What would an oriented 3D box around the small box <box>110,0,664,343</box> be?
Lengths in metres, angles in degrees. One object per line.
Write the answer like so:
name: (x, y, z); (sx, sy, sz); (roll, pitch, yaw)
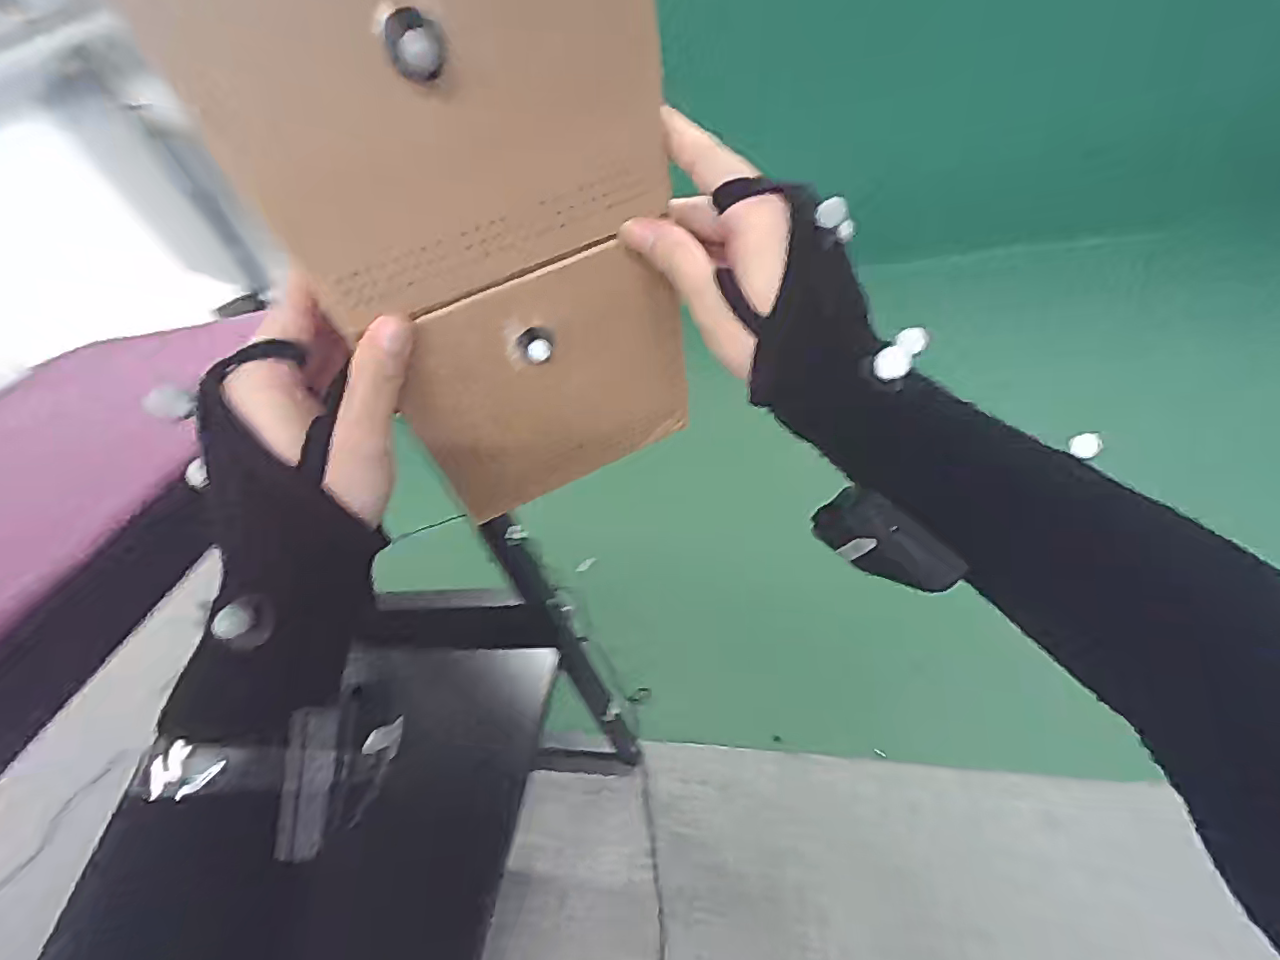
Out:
small box: (-0.098, -0.198, 0.251); (0.179, 0.176, 0.168); (-26, 53, -8)
